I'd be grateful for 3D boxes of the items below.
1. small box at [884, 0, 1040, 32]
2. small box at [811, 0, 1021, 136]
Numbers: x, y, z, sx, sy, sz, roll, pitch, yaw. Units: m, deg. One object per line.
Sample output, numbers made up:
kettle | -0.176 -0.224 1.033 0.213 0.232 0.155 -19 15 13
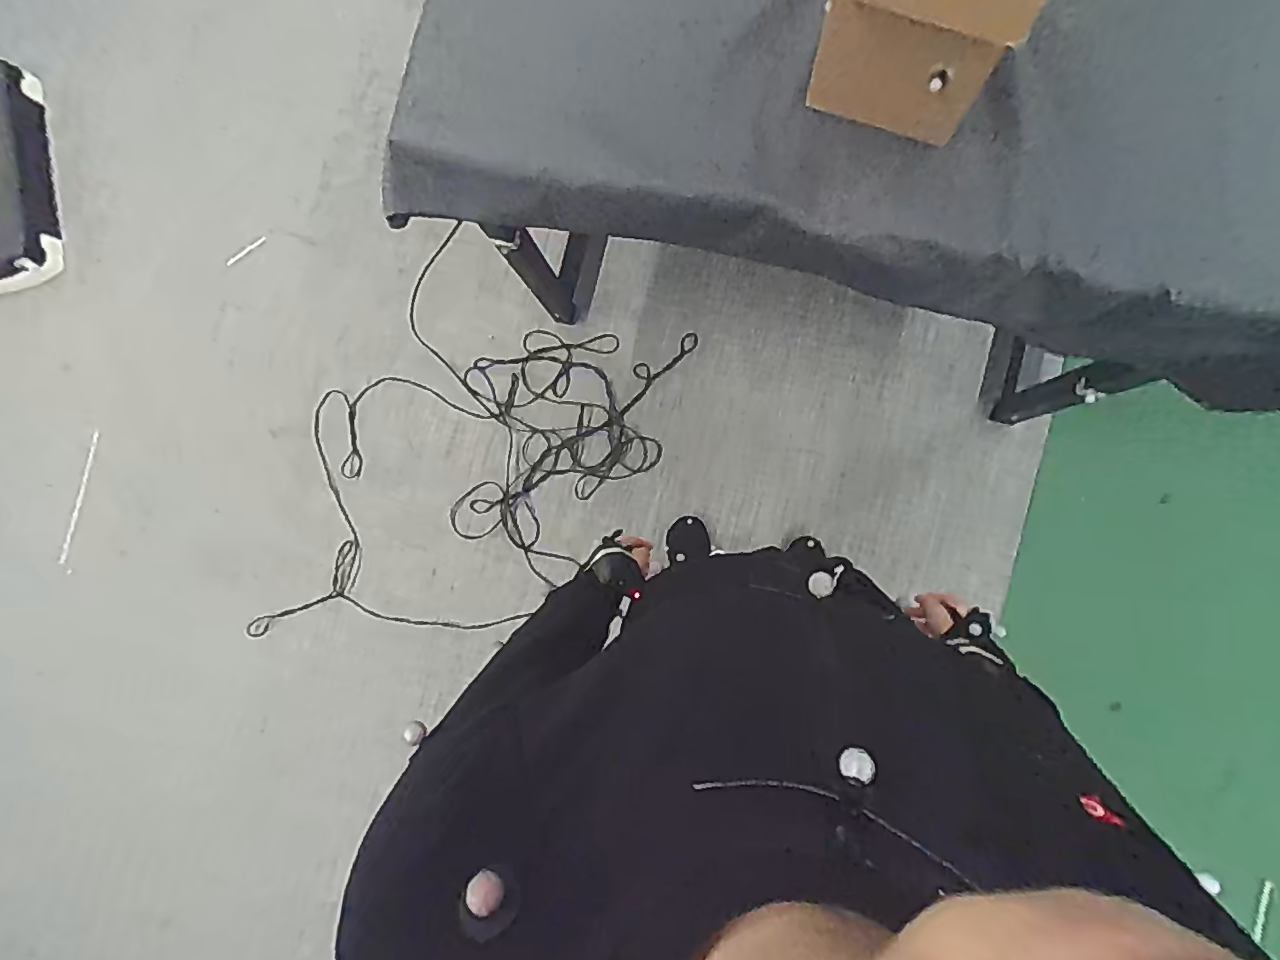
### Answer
small box | 0.281 -0.500 0.413 0.179 0.176 0.168 24 89 7
small box | 0.305 -0.510 0.574 0.179 0.176 0.168 22 88 9
